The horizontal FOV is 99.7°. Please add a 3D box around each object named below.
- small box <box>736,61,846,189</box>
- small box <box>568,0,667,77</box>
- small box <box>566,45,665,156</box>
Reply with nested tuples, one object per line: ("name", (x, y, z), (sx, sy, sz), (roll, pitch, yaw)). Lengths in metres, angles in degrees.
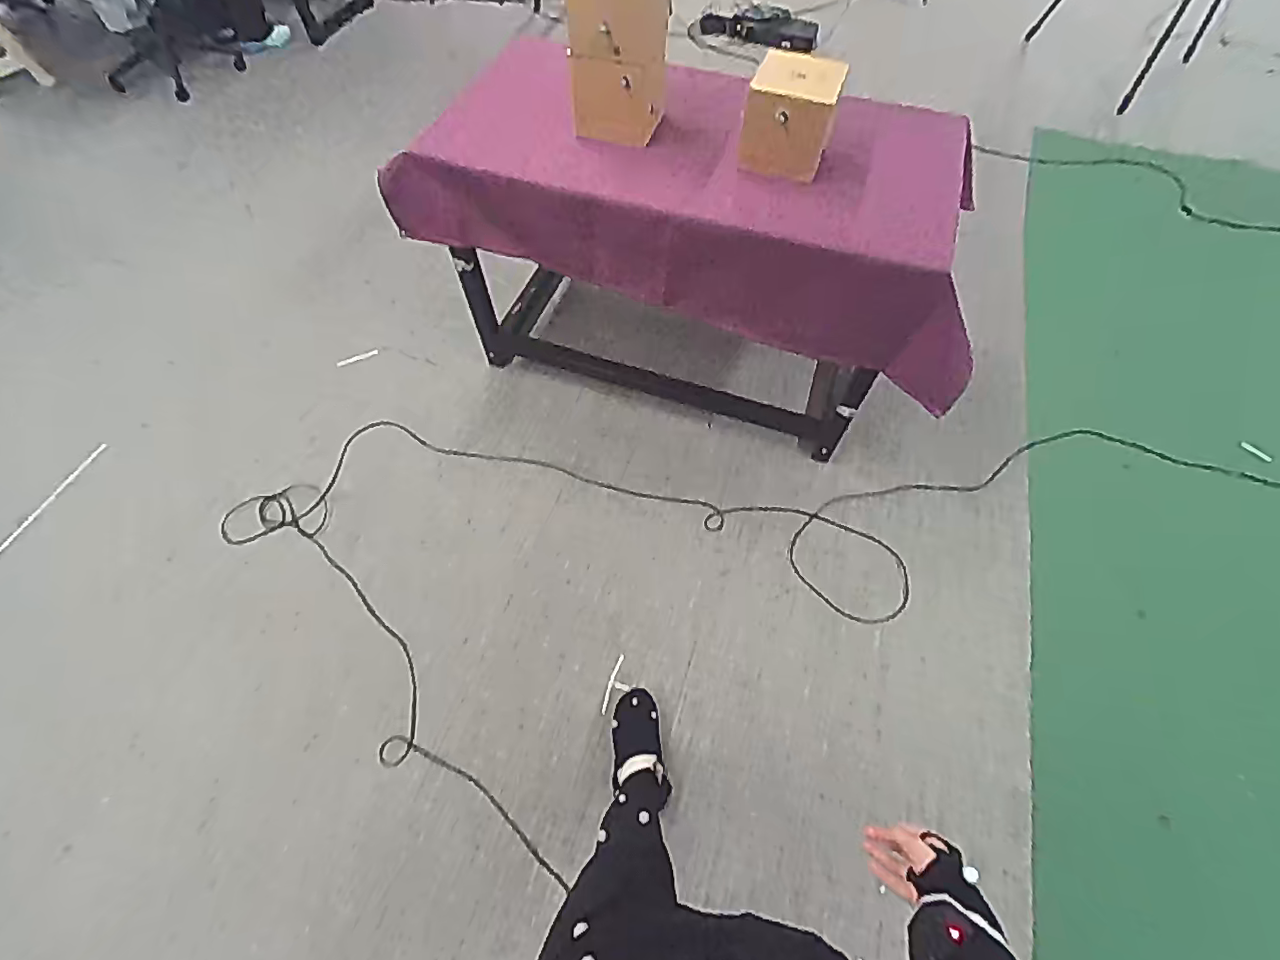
("small box", (0.318, -0.761, 1.168), (0.179, 0.176, 0.168), (19, 62, 10))
("small box", (-0.044, -0.962, 1.097), (0.168, 0.176, 0.179), (15, 61, 9))
("small box", (-0.053, -0.876, 1.238), (0.179, 0.176, 0.168), (16, 61, 8))
